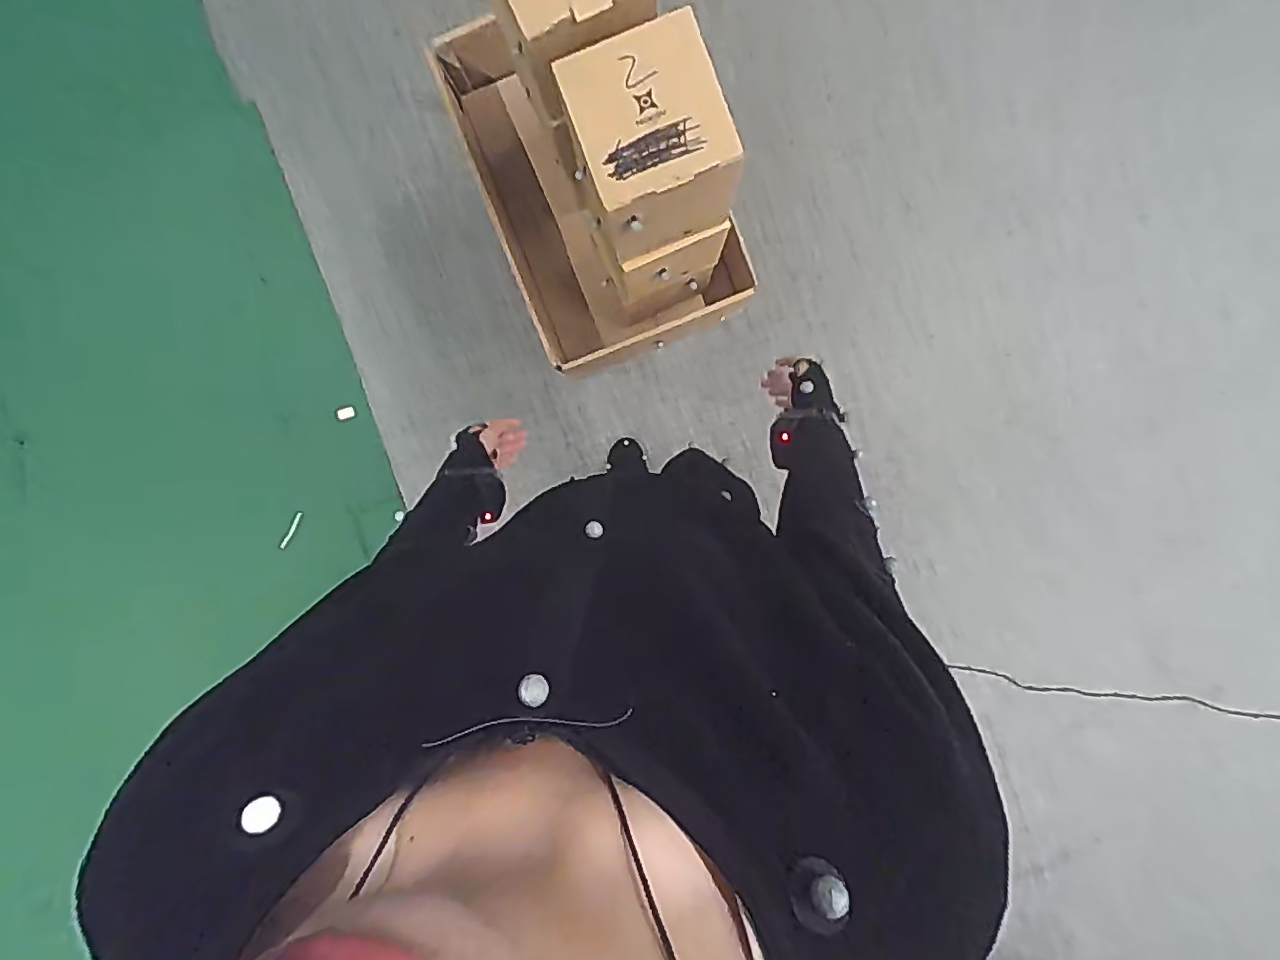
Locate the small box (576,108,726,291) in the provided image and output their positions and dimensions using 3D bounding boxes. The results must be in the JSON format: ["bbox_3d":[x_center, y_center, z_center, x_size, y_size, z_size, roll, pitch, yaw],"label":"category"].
[{"bbox_3d":[0.019,-0.412,0.834,0.168,0.176,0.179,-23,92,2],"label":"small box"}]

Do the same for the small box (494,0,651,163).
[{"bbox_3d":[-0.091,-0.622,0.824,0.168,0.176,0.179,-26,95,3],"label":"small box"}]

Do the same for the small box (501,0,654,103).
[{"bbox_3d":[-0.085,-0.608,0.662,0.168,0.176,0.179,-23,95,2],"label":"small box"}]
